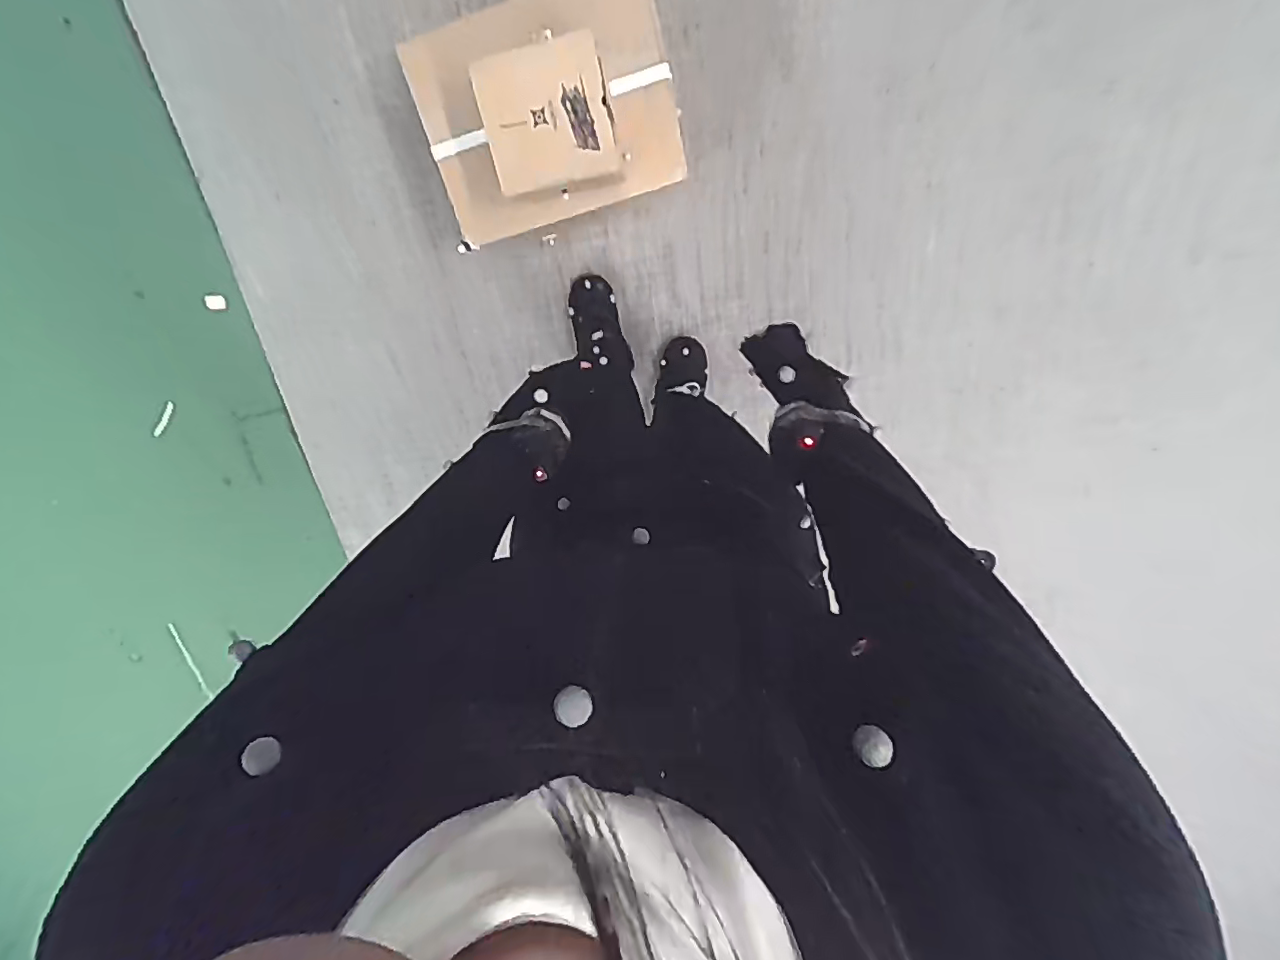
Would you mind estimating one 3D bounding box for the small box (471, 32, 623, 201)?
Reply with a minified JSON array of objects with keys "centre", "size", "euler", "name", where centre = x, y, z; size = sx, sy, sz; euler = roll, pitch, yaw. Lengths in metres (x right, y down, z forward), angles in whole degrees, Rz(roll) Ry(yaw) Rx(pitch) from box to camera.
[{"centre":[-0.125,-0.533,0.818],"size":[0.179,0.176,0.168],"euler":[-9,113,7],"name":"small box"}]
